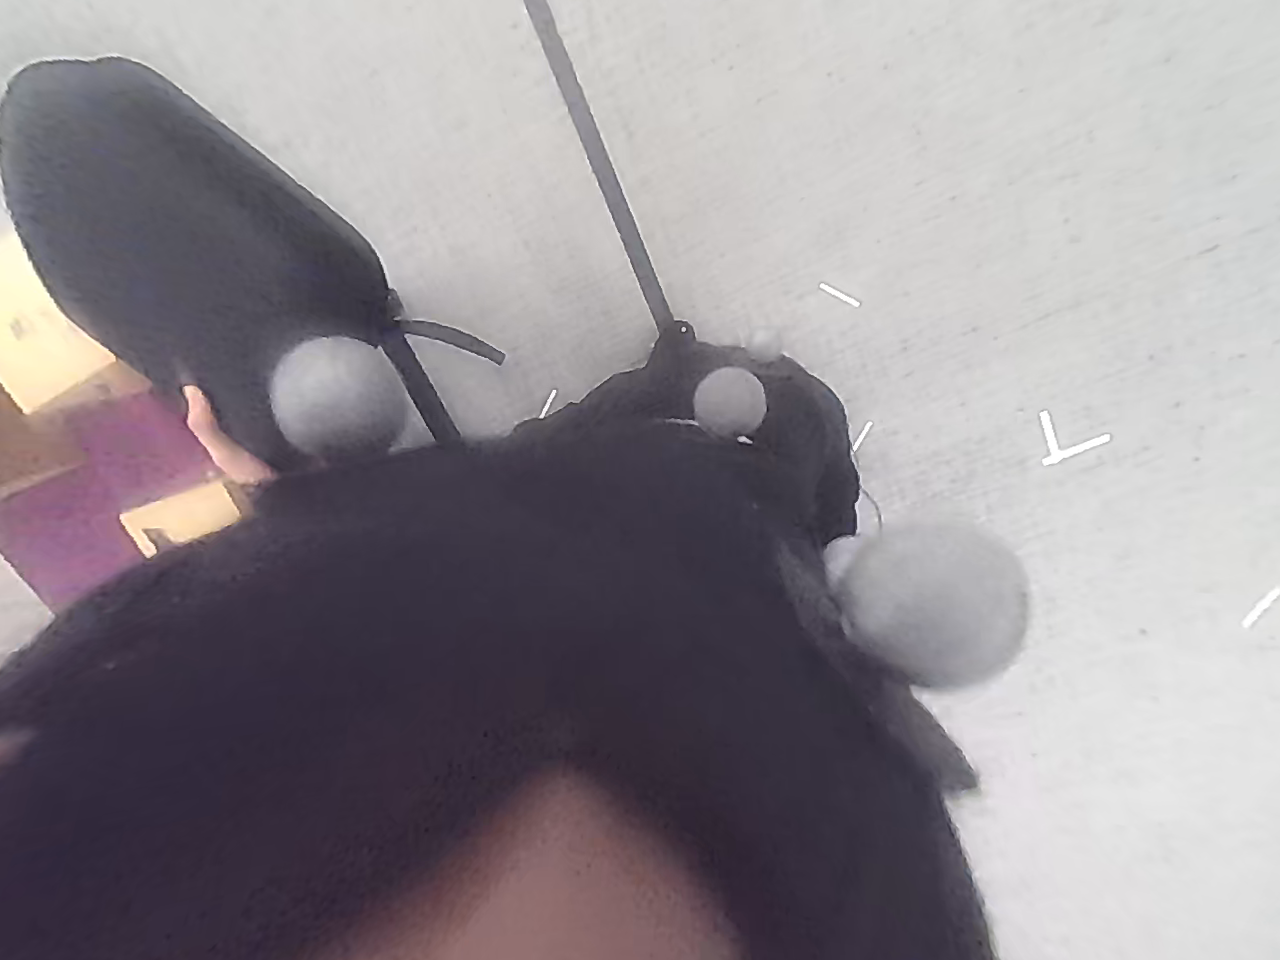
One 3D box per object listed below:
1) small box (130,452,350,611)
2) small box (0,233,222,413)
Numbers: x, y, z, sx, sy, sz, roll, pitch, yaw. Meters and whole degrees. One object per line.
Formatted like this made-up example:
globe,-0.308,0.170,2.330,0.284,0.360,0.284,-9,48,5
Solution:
small box,-0.597,0.072,0.833,0.179,0.176,0.168,-16,107,9
small box,-0.743,-0.213,0.742,0.179,0.176,0.168,-23,107,12
